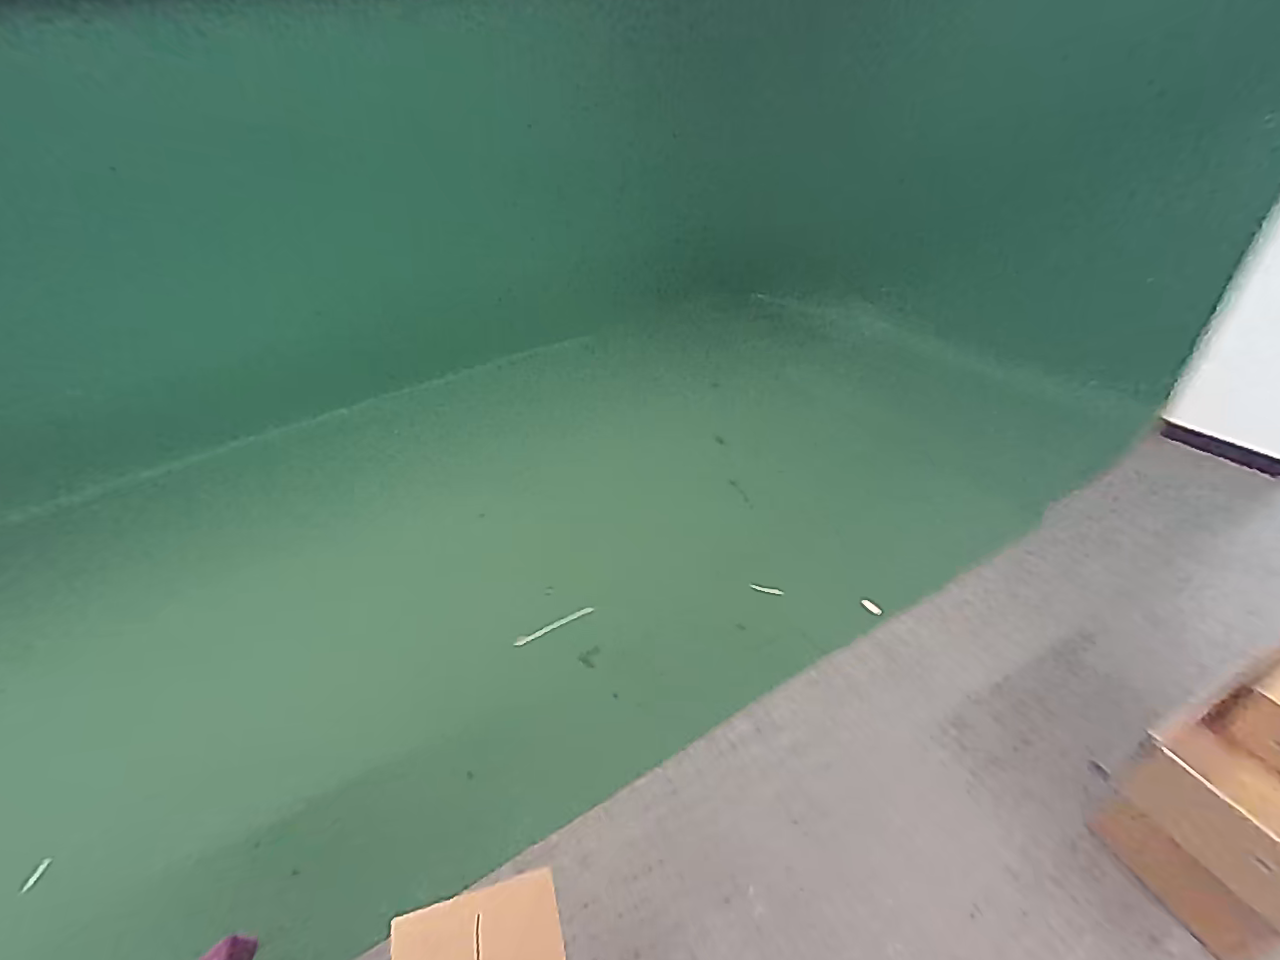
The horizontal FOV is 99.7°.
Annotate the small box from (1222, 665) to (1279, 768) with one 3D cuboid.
[{"bbox_3d":[1.291,0.456,1.035,0.179,0.176,0.168,-21,41,-15],"label":"small box"}]

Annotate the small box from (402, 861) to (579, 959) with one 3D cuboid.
[{"bbox_3d":[-0.145,0.542,0.569,0.168,0.176,0.179,-9,45,-15],"label":"small box"}]
